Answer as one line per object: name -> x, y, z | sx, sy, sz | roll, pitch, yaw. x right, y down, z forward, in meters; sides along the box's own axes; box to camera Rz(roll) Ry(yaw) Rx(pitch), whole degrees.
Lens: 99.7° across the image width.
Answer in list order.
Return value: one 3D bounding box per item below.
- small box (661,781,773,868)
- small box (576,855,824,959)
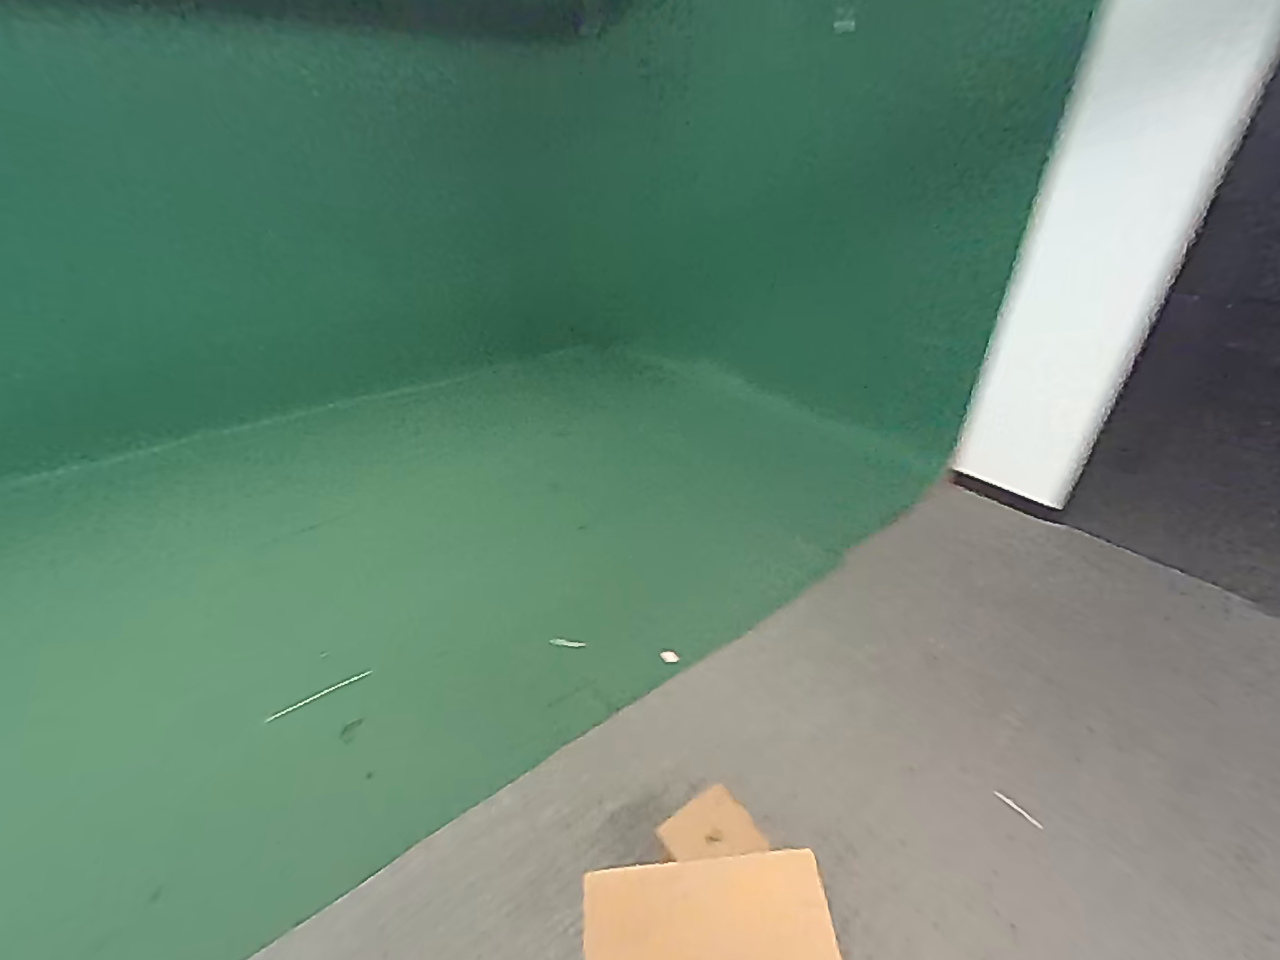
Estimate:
small box -> 0.159, 0.802, 1.158 | 0.179, 0.176, 0.168 | -23, 37, -27
small box -> 0.041, 0.397, 0.384 | 0.168, 0.176, 0.179 | -4, 44, -4
